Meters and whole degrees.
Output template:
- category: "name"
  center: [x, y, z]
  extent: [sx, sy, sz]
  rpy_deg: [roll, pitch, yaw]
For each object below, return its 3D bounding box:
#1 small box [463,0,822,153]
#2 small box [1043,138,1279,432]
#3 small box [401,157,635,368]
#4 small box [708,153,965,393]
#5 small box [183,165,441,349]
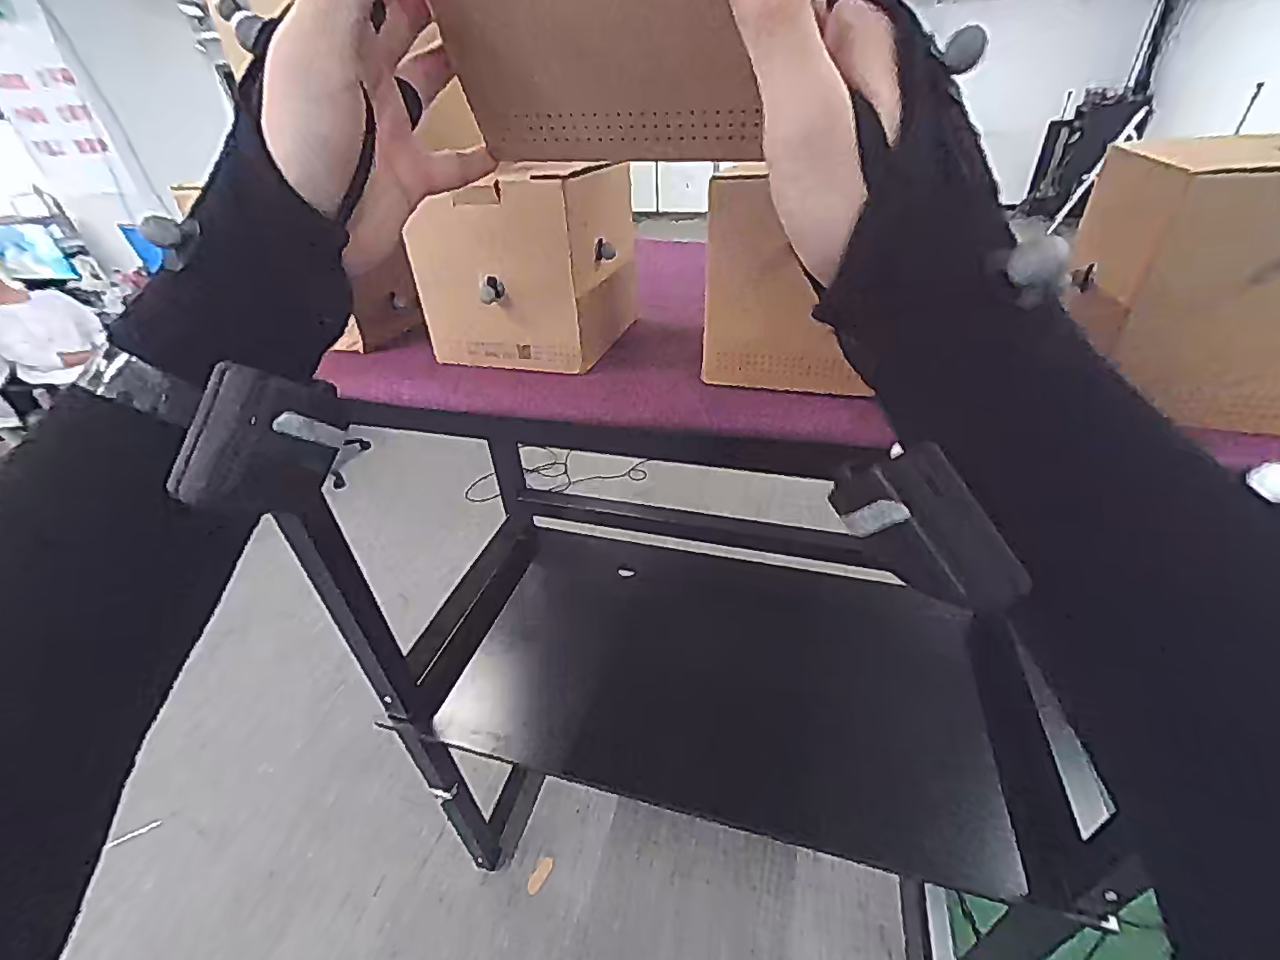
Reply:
- category: "small box"
  center: [0.007, -0.294, 0.272]
  extent: [0.179, 0.176, 0.168]
  rpy_deg: [8, 66, 12]
- category: "small box"
  center: [0.437, -0.150, 0.406]
  extent: [0.179, 0.176, 0.168]
  rpy_deg: [10, 38, 19]
- category: "small box"
  center: [-0.105, -0.227, 0.562]
  extent: [0.168, 0.176, 0.179]
  rpy_deg: [8, 37, 14]
- category: "small box"
  center: [0.163, -0.190, 0.491]
  extent: [0.179, 0.176, 0.168]
  rpy_deg: [7, 35, 16]
- category: "small box"
  center: [-0.355, -0.262, 0.630]
  extent: [0.179, 0.176, 0.168]
  rpy_deg: [8, 36, 14]
